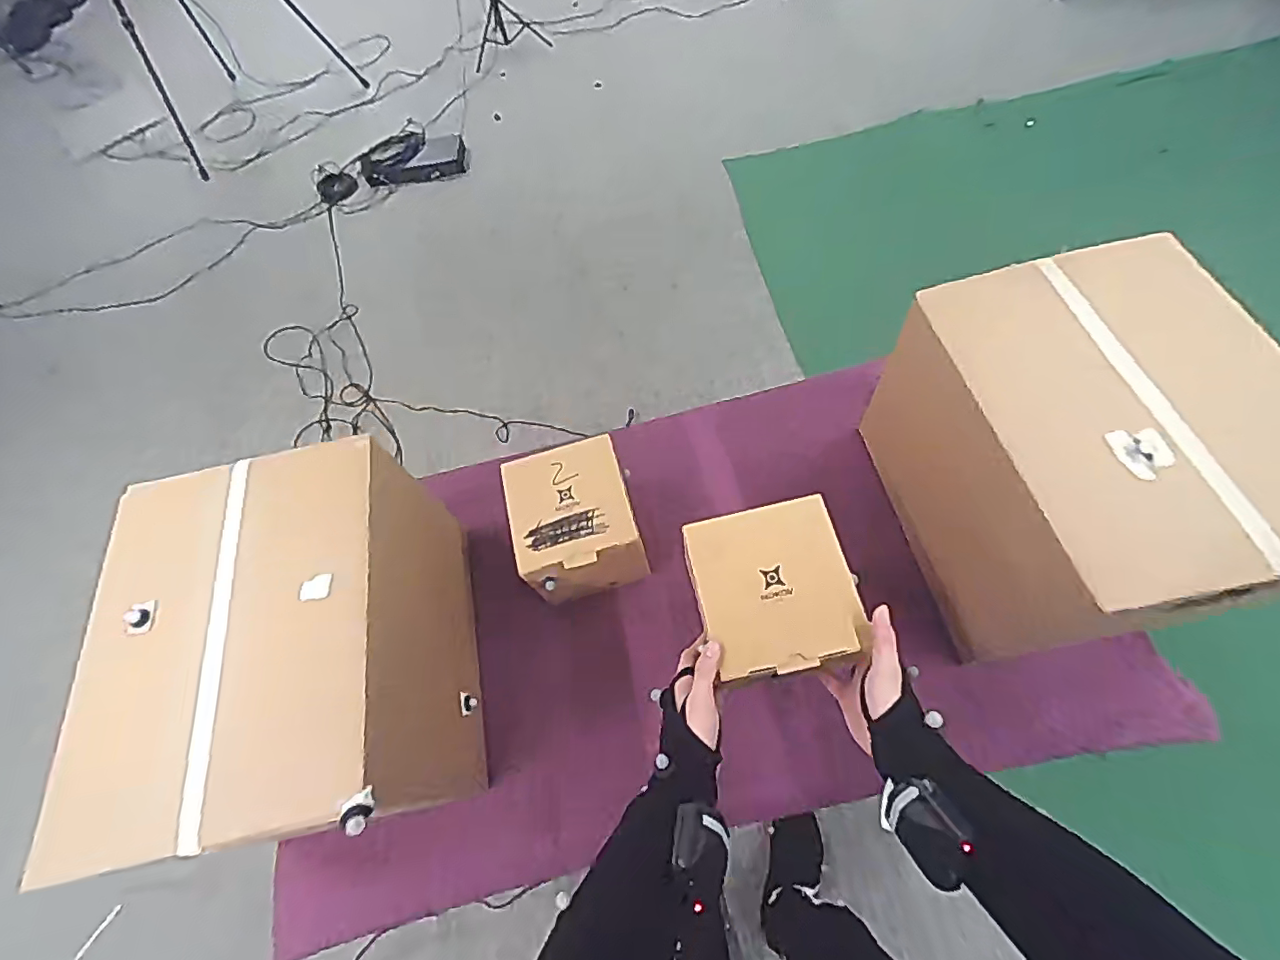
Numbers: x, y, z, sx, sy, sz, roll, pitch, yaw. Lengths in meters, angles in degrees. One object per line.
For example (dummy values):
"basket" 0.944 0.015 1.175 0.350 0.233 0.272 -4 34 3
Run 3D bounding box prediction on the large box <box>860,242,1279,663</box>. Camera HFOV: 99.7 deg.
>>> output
"large box" 0.539 -0.019 0.695 0.320 0.320 0.408 -13 63 2

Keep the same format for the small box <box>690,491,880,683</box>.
"small box" 0.158 0.137 0.658 0.168 0.176 0.179 -13 66 1
